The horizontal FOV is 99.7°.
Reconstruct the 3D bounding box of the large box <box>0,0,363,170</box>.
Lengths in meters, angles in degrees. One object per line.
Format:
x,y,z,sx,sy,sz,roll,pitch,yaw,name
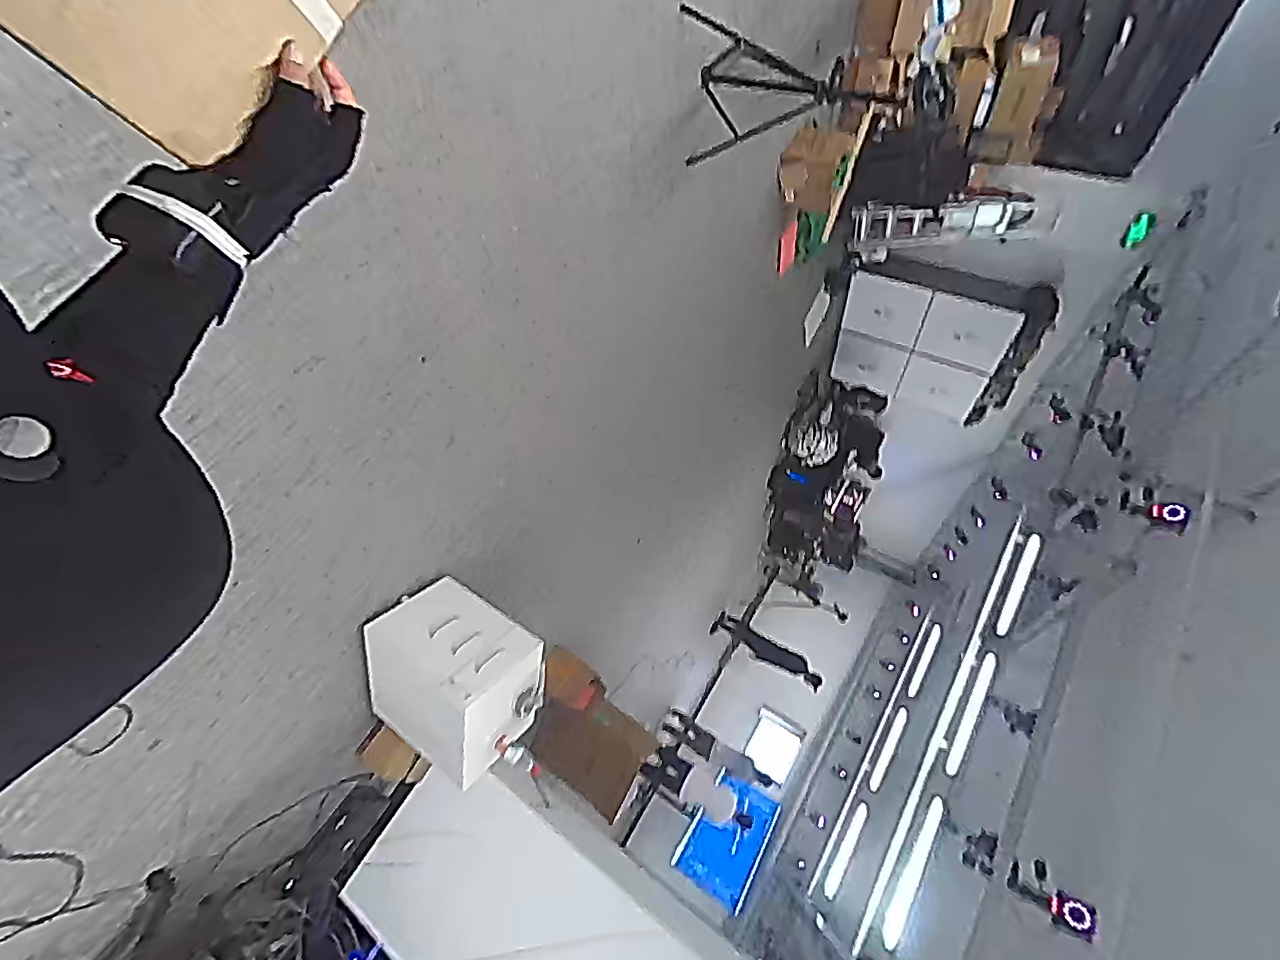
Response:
-0.428,-0.504,0.331,0.320,0.320,0.408,-52,156,-1,large box
